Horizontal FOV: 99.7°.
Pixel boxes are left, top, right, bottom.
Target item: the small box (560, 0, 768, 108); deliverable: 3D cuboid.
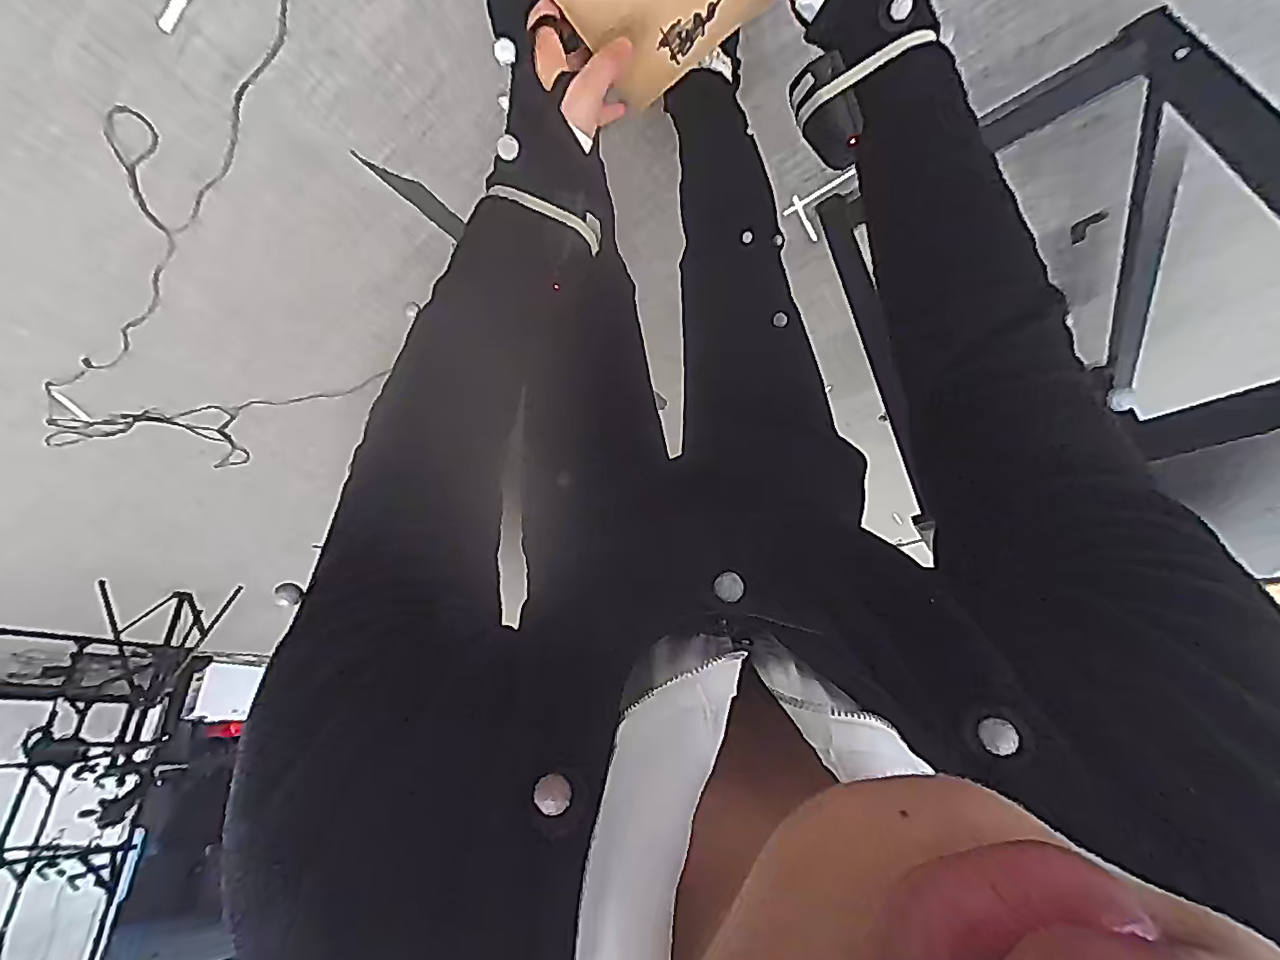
[{"bbox_3d":[0.011,-0.445,0.405,0.168,0.176,0.179,-22,142,33],"label":"small box"}]
